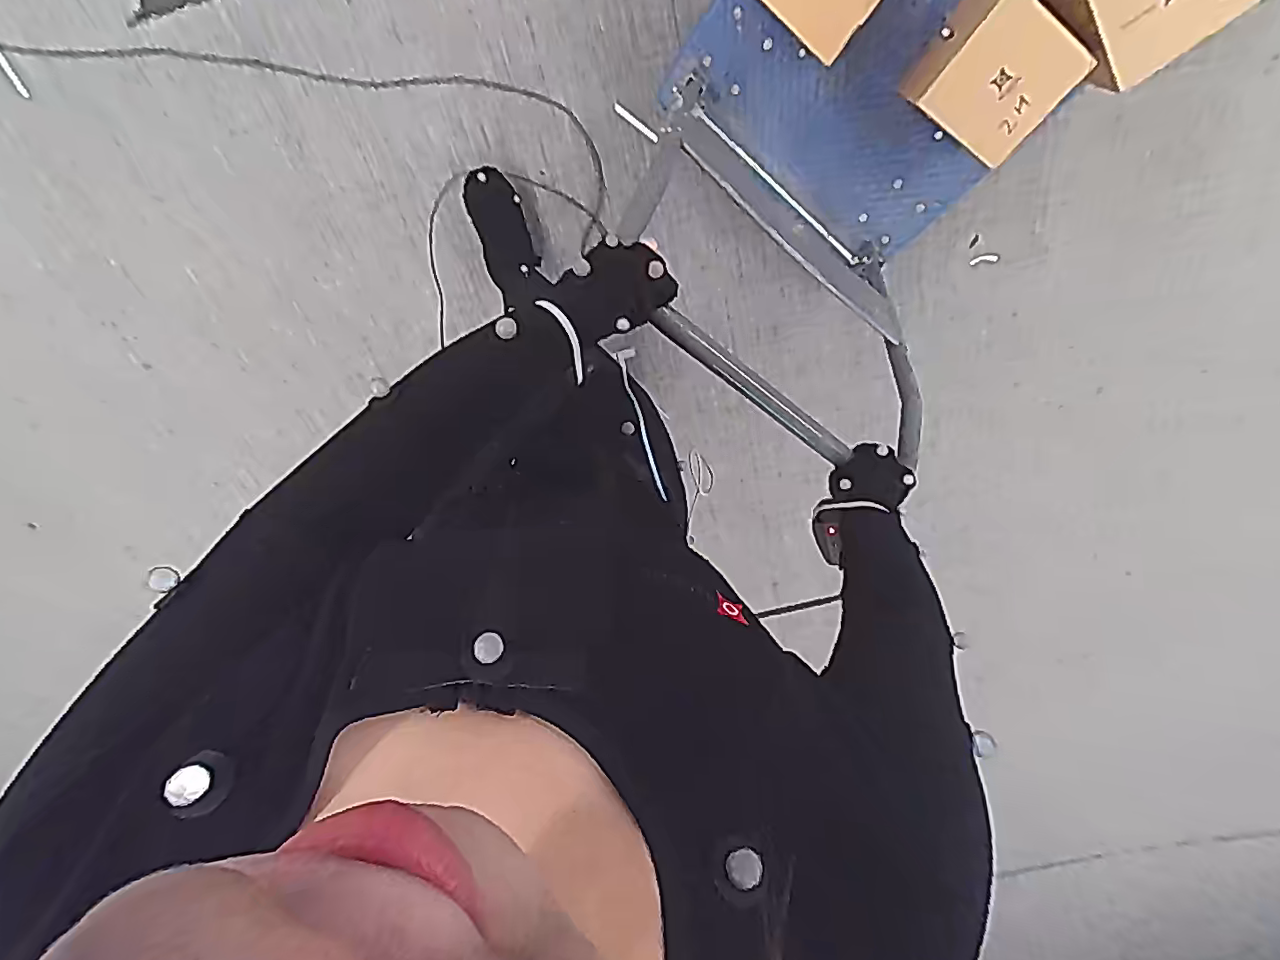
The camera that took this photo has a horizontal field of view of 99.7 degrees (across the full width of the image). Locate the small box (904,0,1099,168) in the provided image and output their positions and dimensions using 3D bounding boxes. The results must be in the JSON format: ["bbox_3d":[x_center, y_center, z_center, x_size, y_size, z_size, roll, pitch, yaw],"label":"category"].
[{"bbox_3d":[0.550,-0.638,0.852,0.179,0.176,0.168,28,132,-15],"label":"small box"}]

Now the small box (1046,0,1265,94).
[{"bbox_3d":[0.721,-0.698,0.760,0.179,0.176,0.168,-30,121,34],"label":"small box"}]

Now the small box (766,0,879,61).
[{"bbox_3d":[0.270,-0.763,0.789,0.179,0.176,0.168,30,131,-19],"label":"small box"}]
